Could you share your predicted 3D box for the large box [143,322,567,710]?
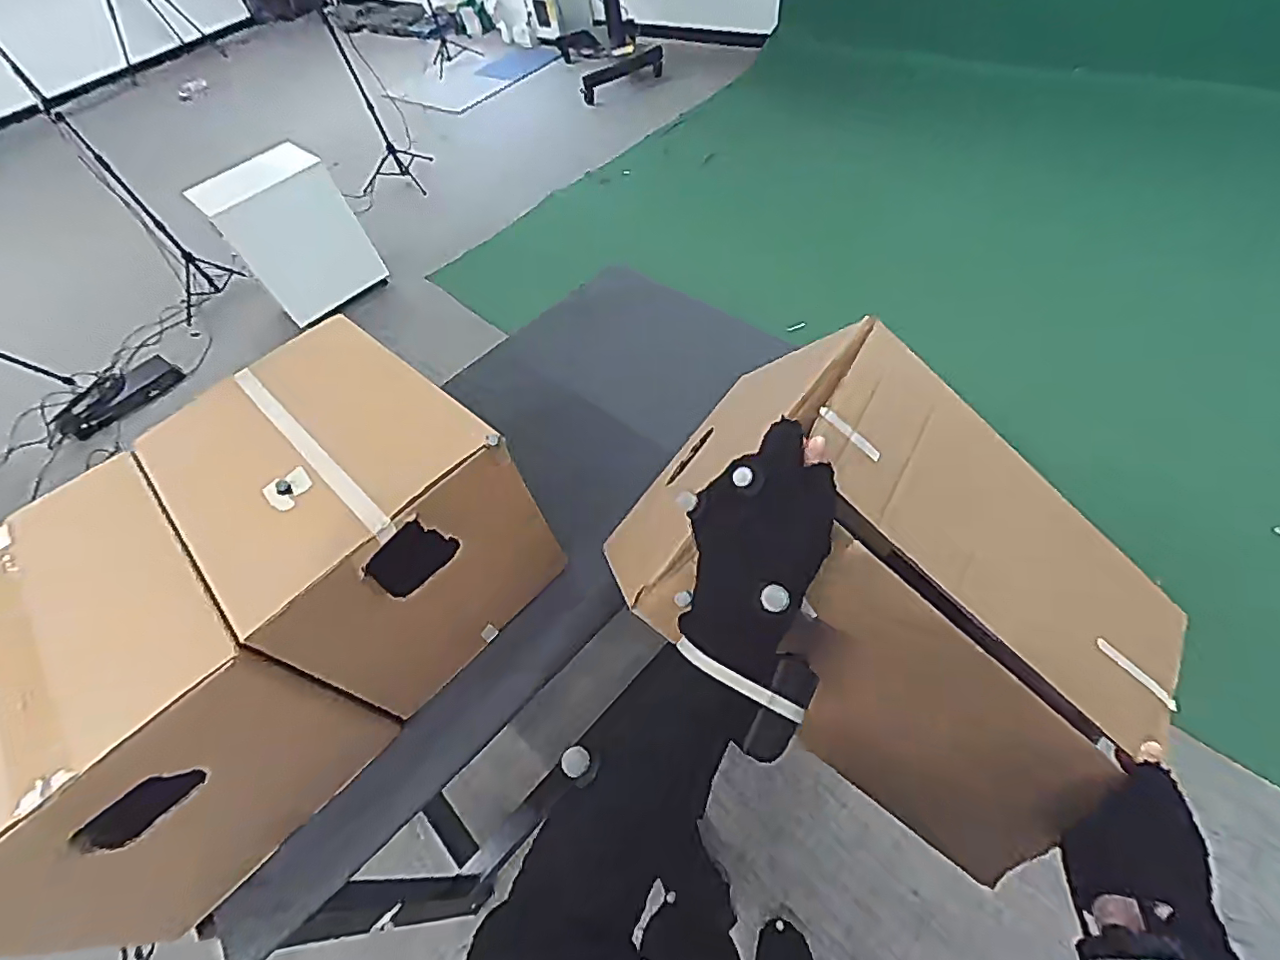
[{"bbox_3d":[-0.374,0.042,0.773,0.408,0.320,0.320,34,67,29],"label":"large box"}]
